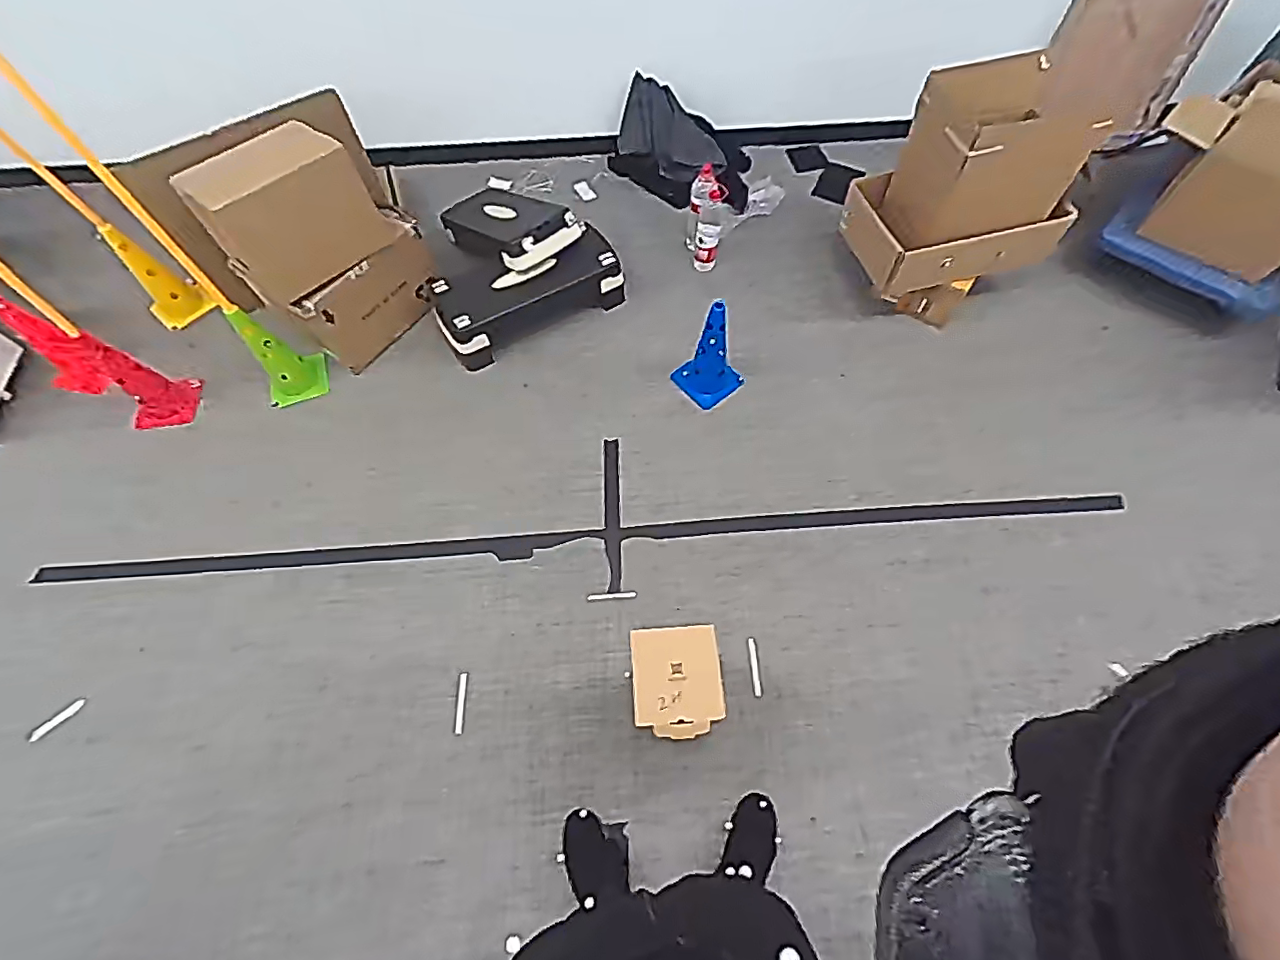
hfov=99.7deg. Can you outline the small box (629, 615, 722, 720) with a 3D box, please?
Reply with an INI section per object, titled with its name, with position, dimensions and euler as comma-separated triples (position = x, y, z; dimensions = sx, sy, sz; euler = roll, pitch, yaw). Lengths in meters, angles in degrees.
[small box]
position = 0.063, 0.380, 1.085
dimensions = 0.168, 0.176, 0.179
euler = -3, 64, -2
